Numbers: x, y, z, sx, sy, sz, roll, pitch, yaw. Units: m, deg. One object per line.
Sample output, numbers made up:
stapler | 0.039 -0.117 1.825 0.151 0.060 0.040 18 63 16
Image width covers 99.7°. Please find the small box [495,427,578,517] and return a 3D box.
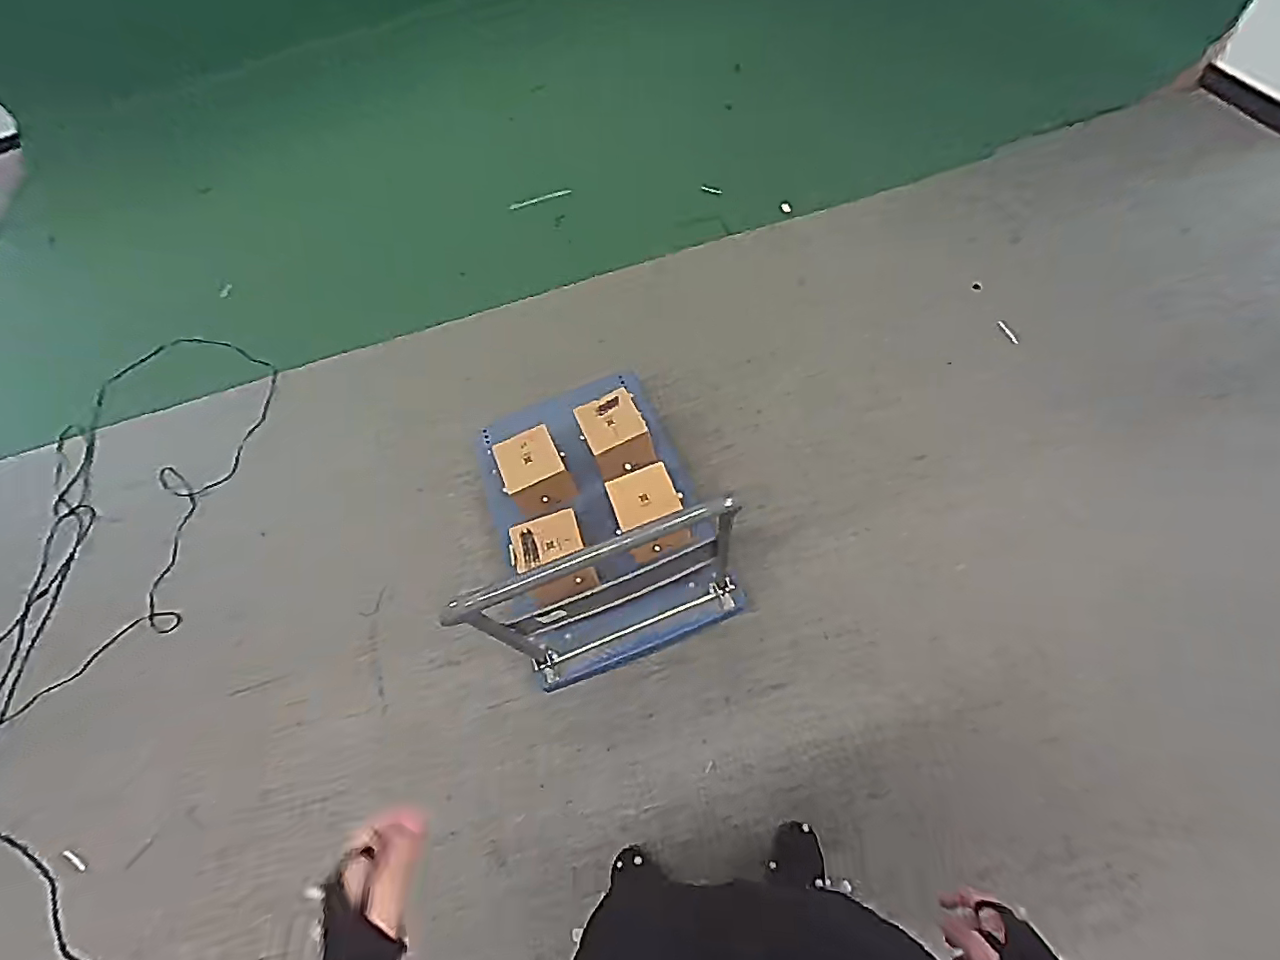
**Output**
small box | -0.293 -0.014 1.559 0.168 0.176 0.179 -24 60 -5

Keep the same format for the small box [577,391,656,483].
small box | -0.066 -0.121 1.580 0.168 0.176 0.179 -25 62 -4

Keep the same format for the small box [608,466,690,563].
small box | 0.027 0.096 1.448 0.168 0.176 0.179 -21 61 -2
